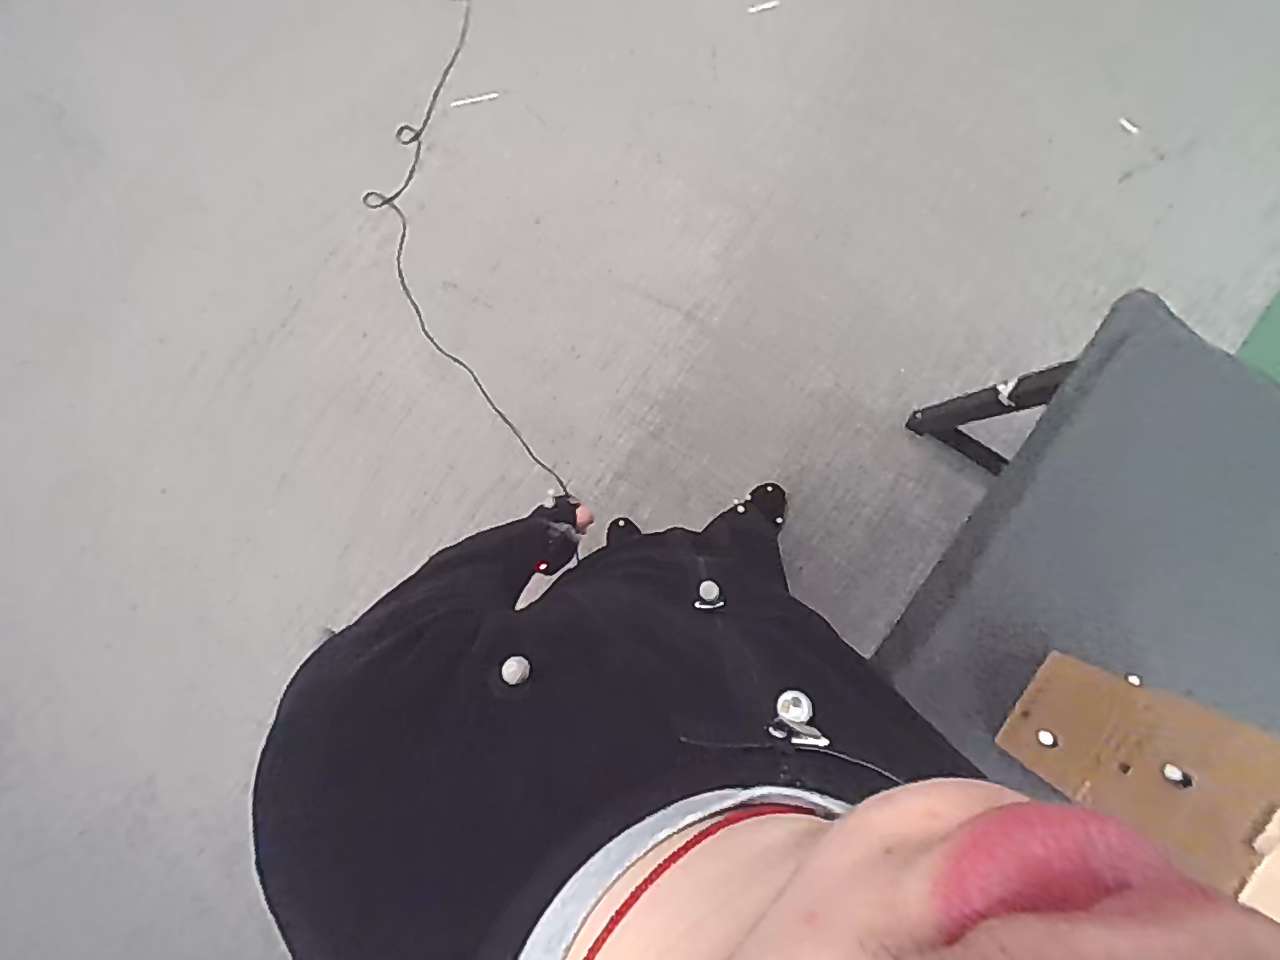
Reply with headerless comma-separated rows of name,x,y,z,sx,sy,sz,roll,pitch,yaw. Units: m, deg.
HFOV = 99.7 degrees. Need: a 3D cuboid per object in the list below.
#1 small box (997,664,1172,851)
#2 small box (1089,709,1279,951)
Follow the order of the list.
small box,0.638,0.373,0.728,0.179,0.176,0.168,33,91,1
small box,0.639,0.370,0.564,0.179,0.176,0.168,35,91,3
